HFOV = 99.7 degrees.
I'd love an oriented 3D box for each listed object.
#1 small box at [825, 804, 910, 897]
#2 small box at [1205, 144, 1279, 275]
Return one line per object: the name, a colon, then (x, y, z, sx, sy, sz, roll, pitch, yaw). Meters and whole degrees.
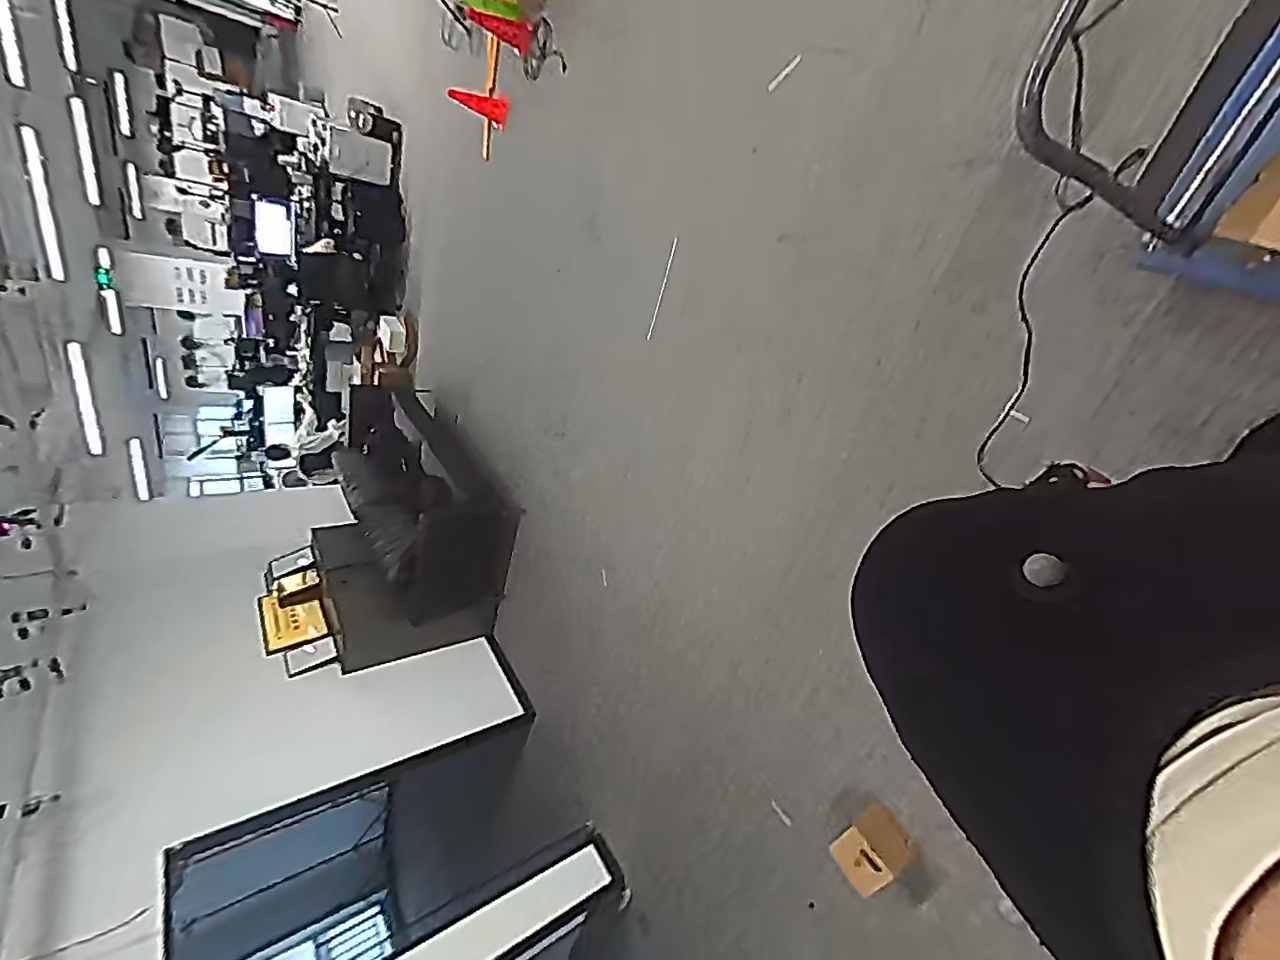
small box: (0.757, 1.217, 1.786, 0.168, 0.176, 0.179, 50, 131, 37)
small box: (1.092, -0.430, 0.876, 0.179, 0.176, 0.168, 47, 128, 37)
